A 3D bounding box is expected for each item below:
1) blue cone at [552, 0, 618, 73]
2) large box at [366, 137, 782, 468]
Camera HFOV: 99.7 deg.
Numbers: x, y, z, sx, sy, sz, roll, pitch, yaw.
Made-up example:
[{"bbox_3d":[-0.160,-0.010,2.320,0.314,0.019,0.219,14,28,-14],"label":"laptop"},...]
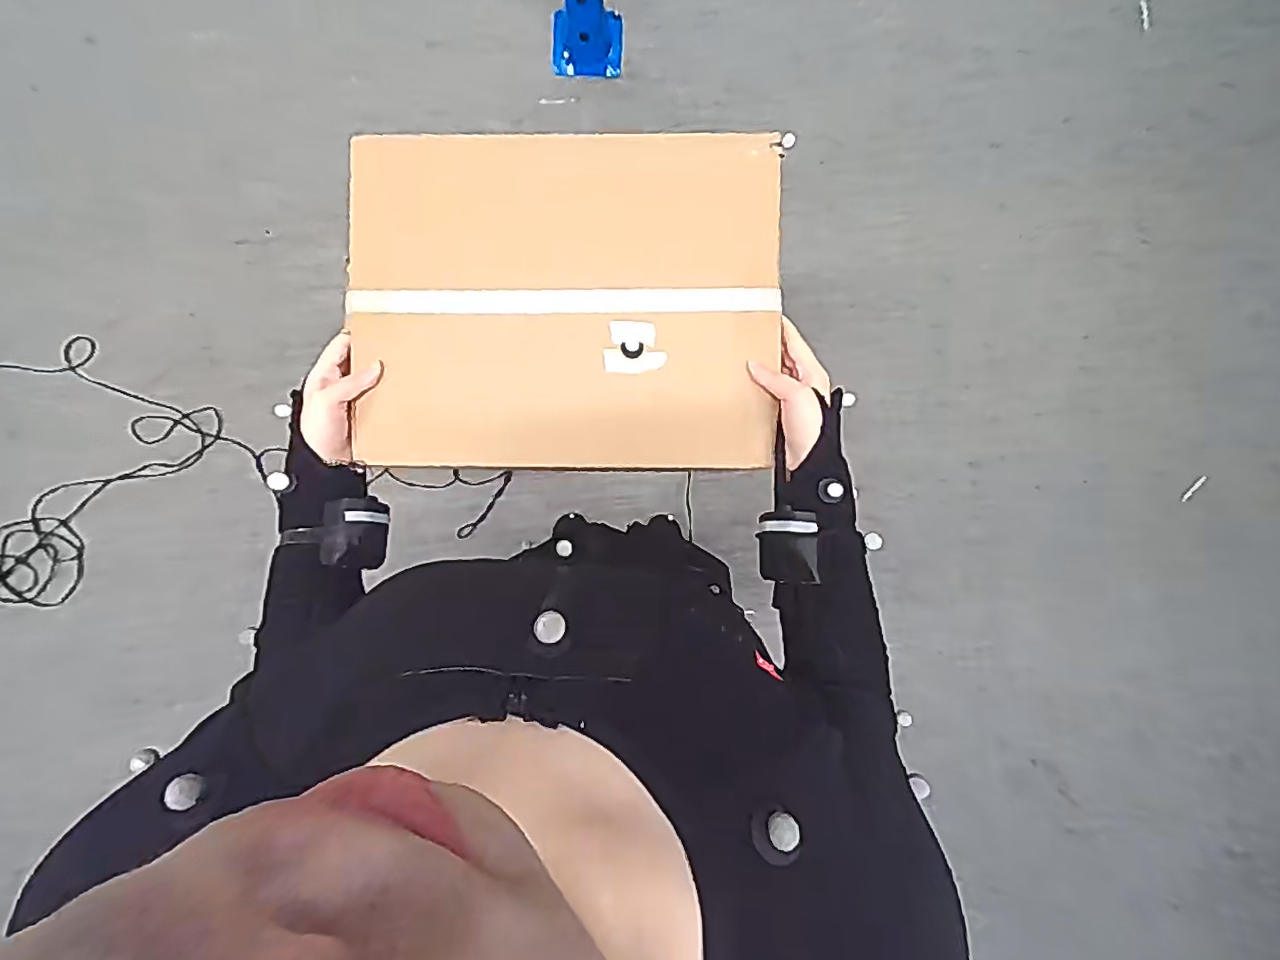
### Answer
[{"bbox_3d":[-0.156,-1.289,1.413,0.193,0.380,0.192,3,87,-1],"label":"blue cone"},{"bbox_3d":[-0.065,-0.174,0.665,0.408,0.320,0.320,0,91,0],"label":"large box"}]
